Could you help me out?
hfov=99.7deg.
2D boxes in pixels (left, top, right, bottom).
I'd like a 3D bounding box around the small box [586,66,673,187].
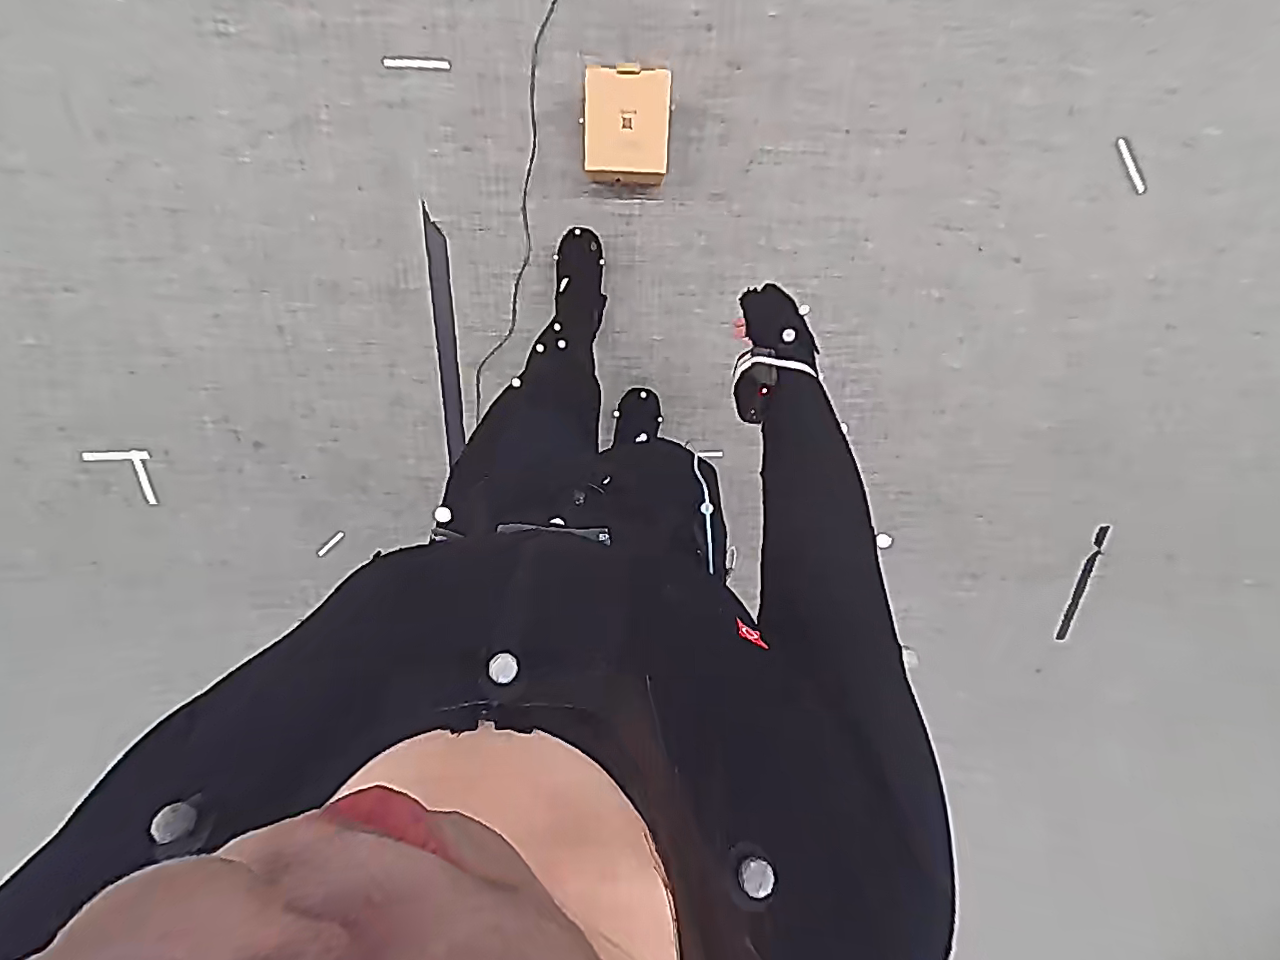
[{"bbox_3d":[-0.025,-0.725,1.126,0.168,0.176,0.179,2,112,-1],"label":"small box"}]
